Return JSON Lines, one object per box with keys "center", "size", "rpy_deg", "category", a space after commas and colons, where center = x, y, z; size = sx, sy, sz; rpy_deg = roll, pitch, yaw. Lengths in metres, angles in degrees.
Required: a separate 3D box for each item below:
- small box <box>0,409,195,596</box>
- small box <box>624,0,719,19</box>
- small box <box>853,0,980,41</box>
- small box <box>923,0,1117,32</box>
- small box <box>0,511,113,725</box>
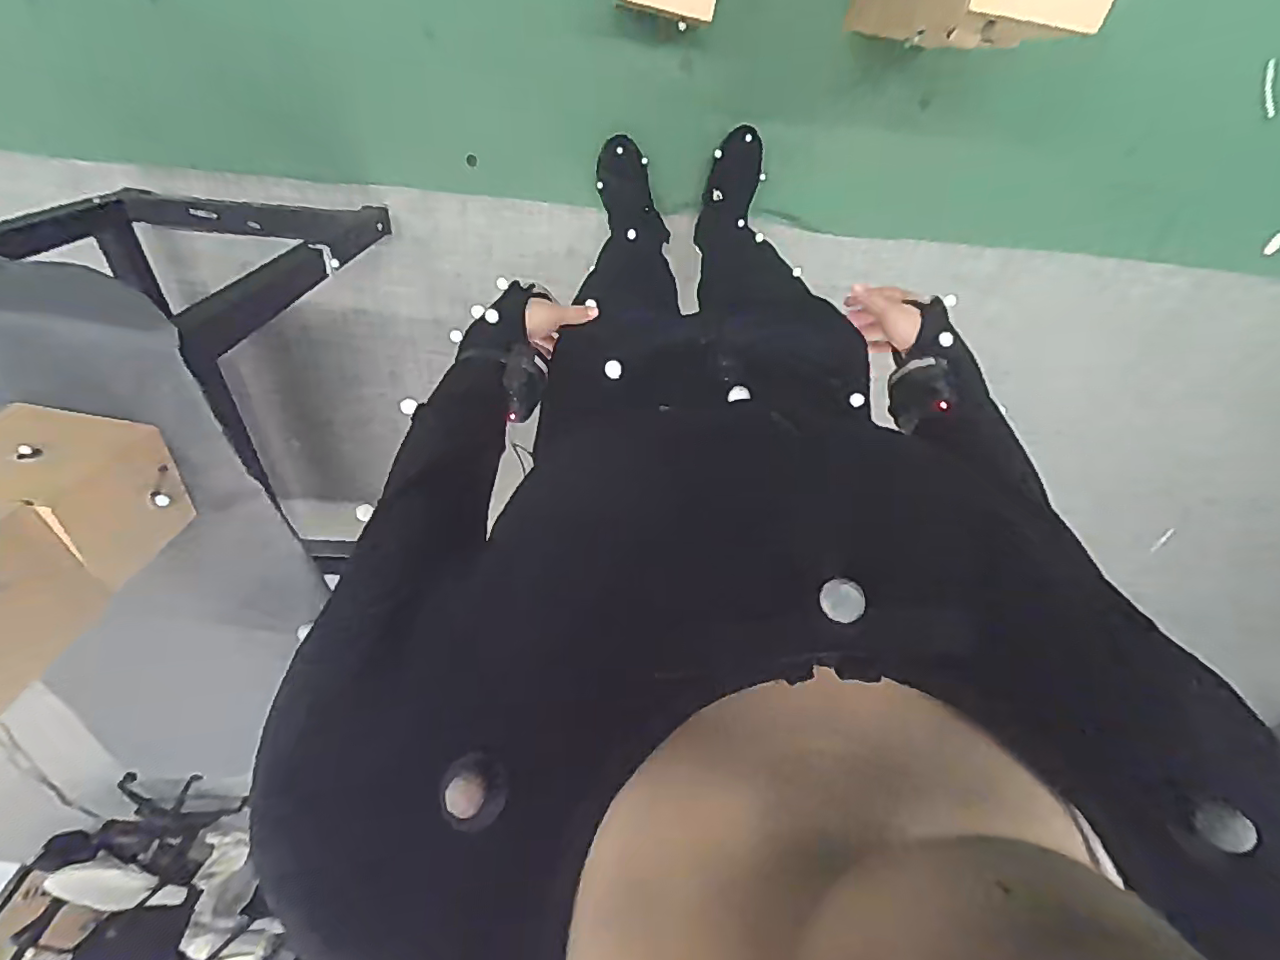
{"center": [-0.732, 0.027, 0.688], "size": [0.179, 0.176, 0.168], "rpy_deg": [9, 129, -6], "category": "small box"}
{"center": [0.055, -0.891, 0.898], "size": [0.179, 0.176, 0.168], "rpy_deg": [9, 127, -7], "category": "small box"}
{"center": [0.496, -0.871, 0.920], "size": [0.179, 0.176, 0.168], "rpy_deg": [7, 129, -6], "category": "small box"}
{"center": [0.486, -0.668, 0.661], "size": [0.179, 0.176, 0.168], "rpy_deg": [6, 128, -5], "category": "small box"}
{"center": [-0.738, 0.137, 0.567], "size": [0.168, 0.176, 0.179], "rpy_deg": [4, 130, 1], "category": "small box"}
